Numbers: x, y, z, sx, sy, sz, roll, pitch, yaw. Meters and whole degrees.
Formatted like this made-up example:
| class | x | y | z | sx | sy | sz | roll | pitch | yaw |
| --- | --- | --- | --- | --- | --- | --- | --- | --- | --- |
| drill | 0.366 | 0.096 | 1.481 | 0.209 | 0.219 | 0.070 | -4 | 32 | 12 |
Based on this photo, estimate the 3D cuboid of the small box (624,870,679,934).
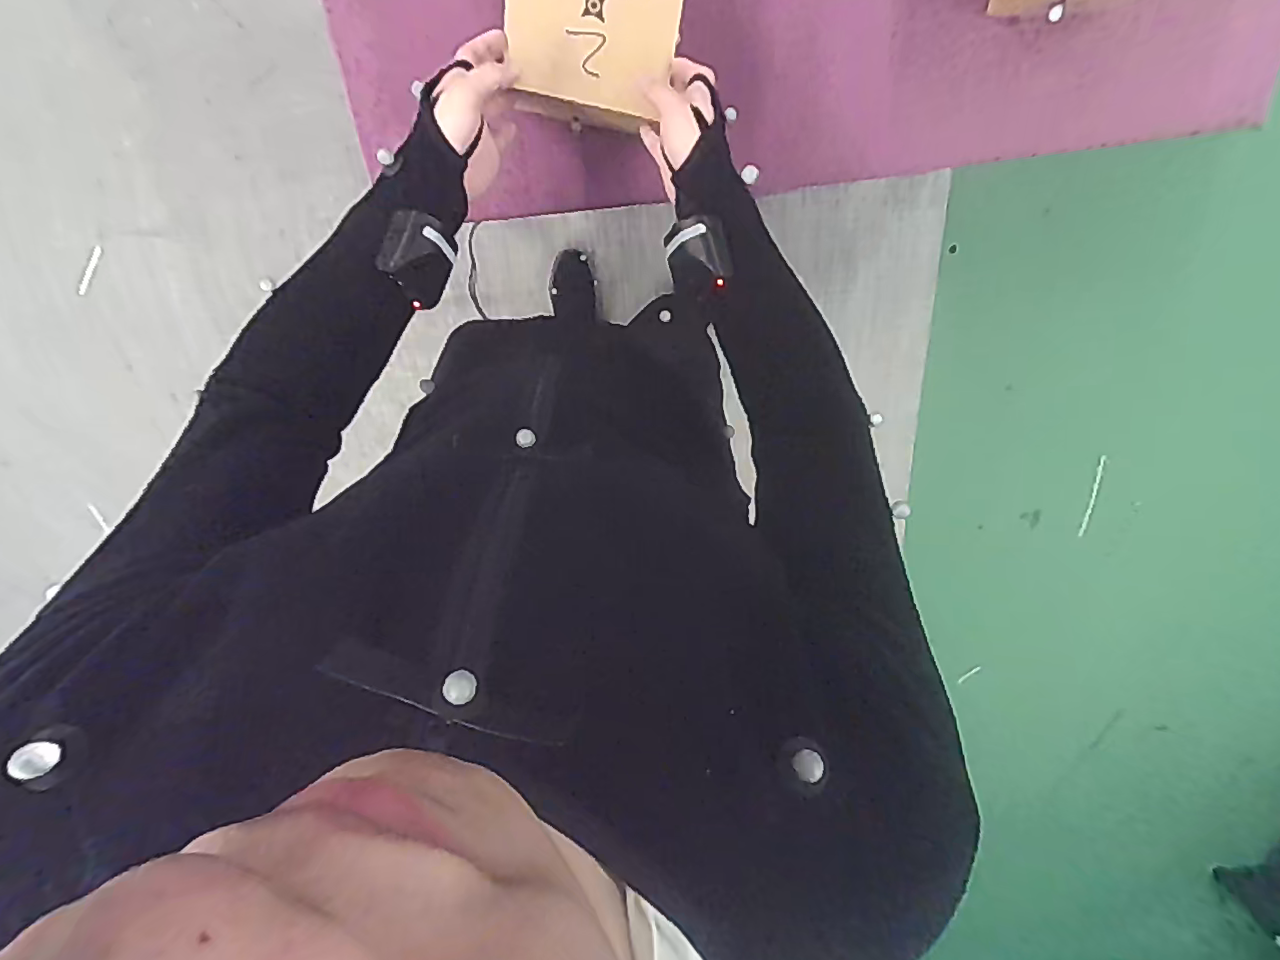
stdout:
| class | x | y | z | sx | sy | sz | roll | pitch | yaw |
| --- | --- | --- | --- | --- | --- | --- | --- | --- | --- |
| small box | 0.032 | 1.428 | 1.791 | 0.168 | 0.176 | 0.179 | -2 | 114 | -4 |

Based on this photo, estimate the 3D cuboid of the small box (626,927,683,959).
| class | x | y | z | sx | sy | sz | roll | pitch | yaw |
| --- | --- | --- | --- | --- | --- | --- | --- | --- | --- |
| small box | 0.044 | 1.495 | 1.641 | 0.168 | 0.176 | 0.179 | -2 | 115 | -4 |
